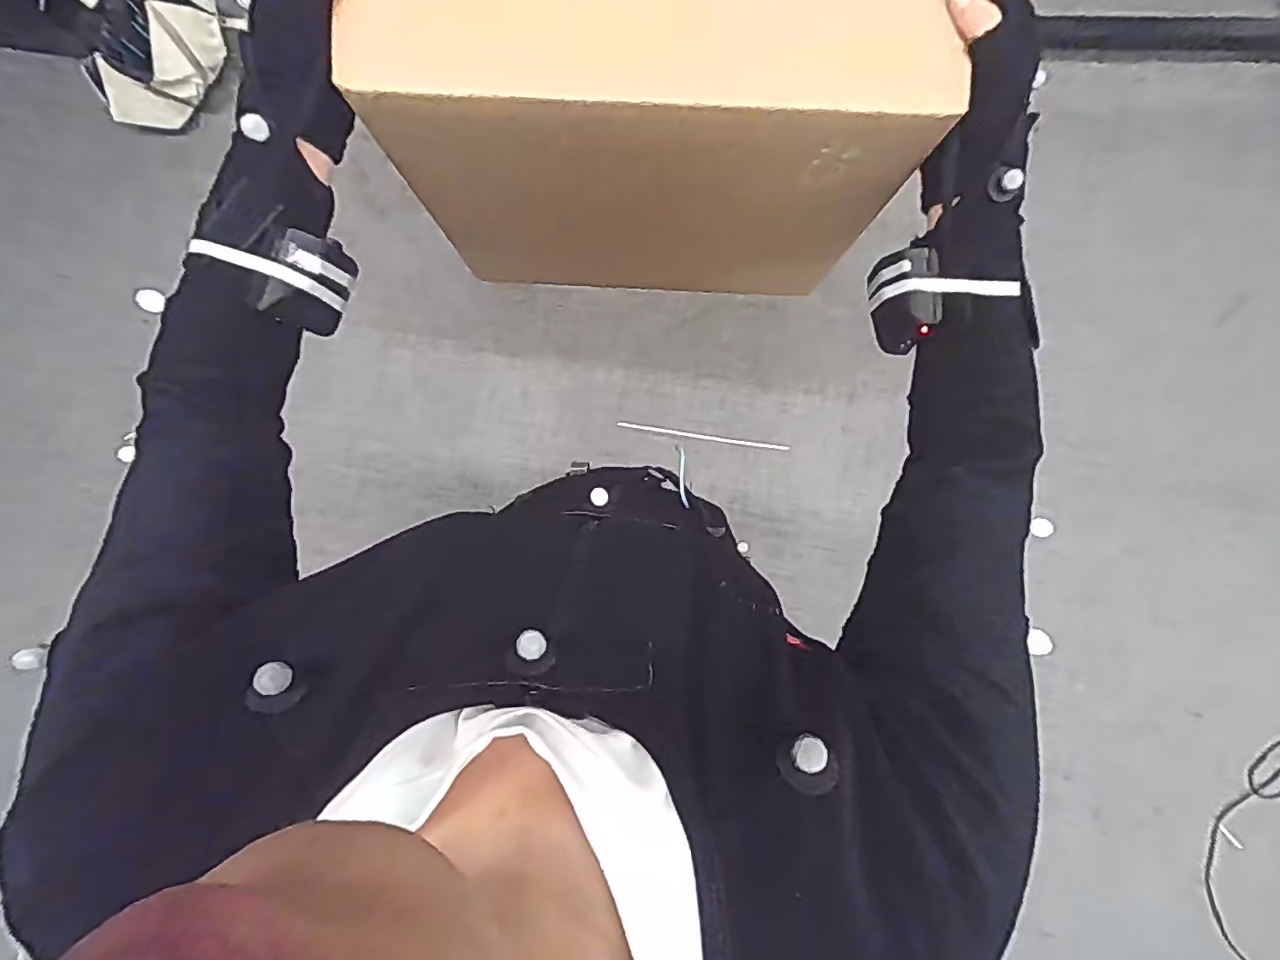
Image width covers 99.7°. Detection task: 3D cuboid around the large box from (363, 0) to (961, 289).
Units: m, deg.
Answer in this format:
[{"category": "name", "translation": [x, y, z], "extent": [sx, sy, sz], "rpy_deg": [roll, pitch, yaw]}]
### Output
[{"category": "large box", "translation": [0.014, -0.391, 0.511], "extent": [0.408, 0.320, 0.320], "rpy_deg": [2, 88, -2]}]
